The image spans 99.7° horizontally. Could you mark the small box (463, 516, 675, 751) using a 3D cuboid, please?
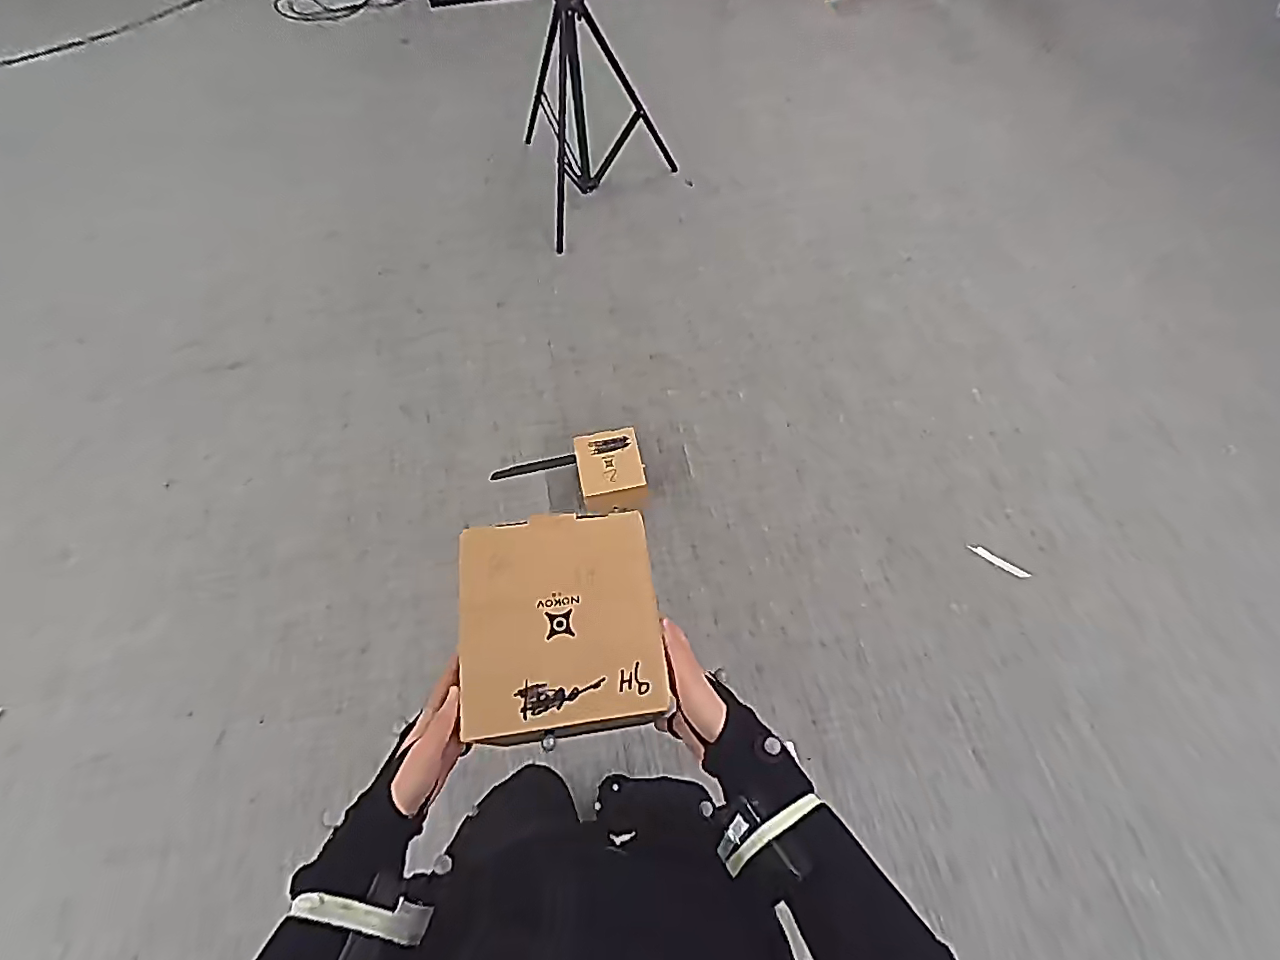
[{"bbox_3d":[-0.070,0.153,0.523,0.168,0.176,0.179,-6,63,-8],"label":"small box"}]
